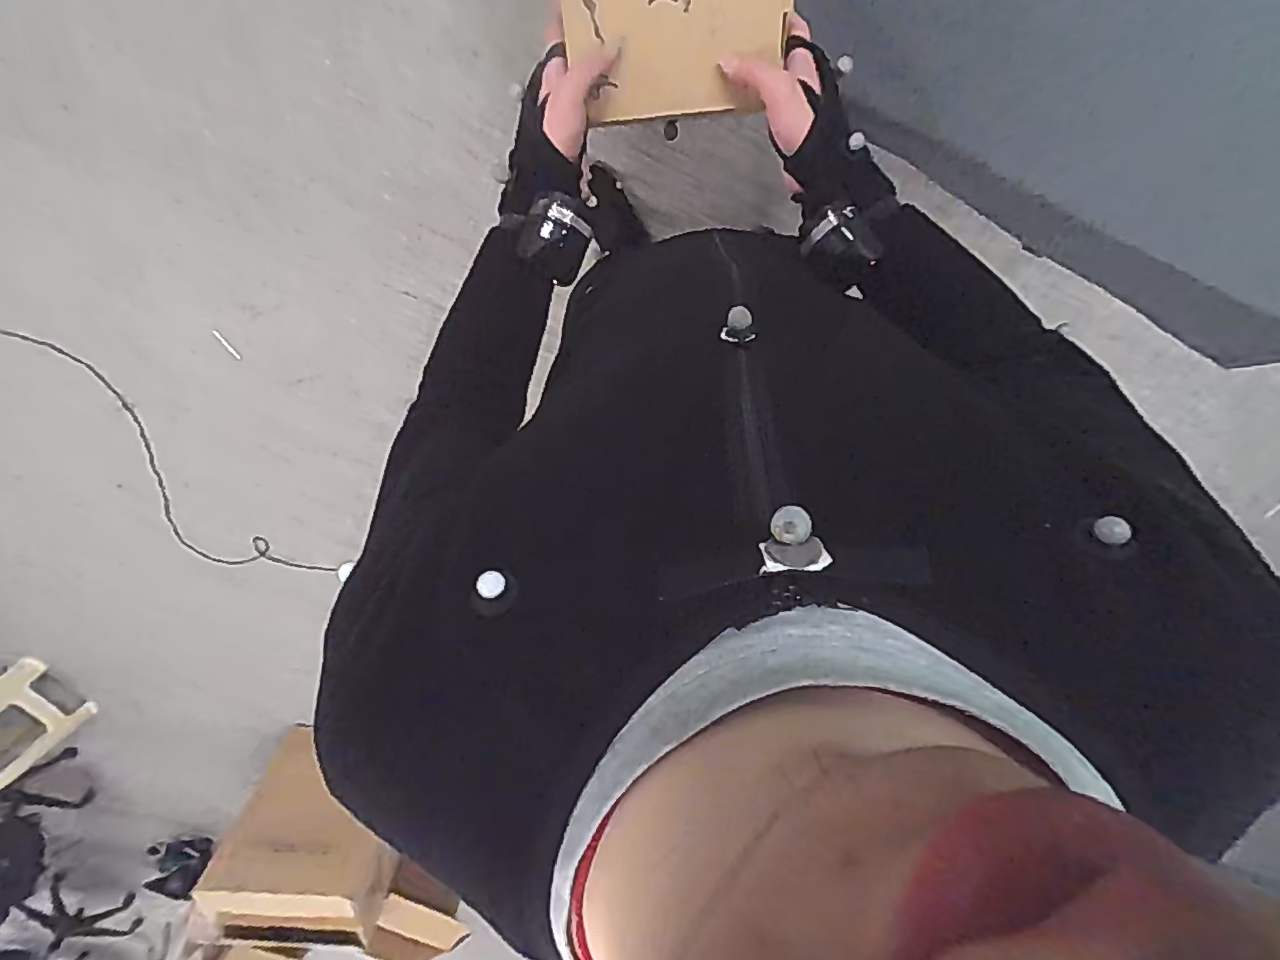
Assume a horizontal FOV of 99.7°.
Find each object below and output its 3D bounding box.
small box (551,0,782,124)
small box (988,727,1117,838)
[{"bbox_3d":[0.017,-0.413,0.466,0.179,0.176,0.168,-4,121,1],"label":"small box"},{"bbox_3d":[1.043,0.776,1.392,0.168,0.176,0.179,22,118,-13],"label":"small box"}]
